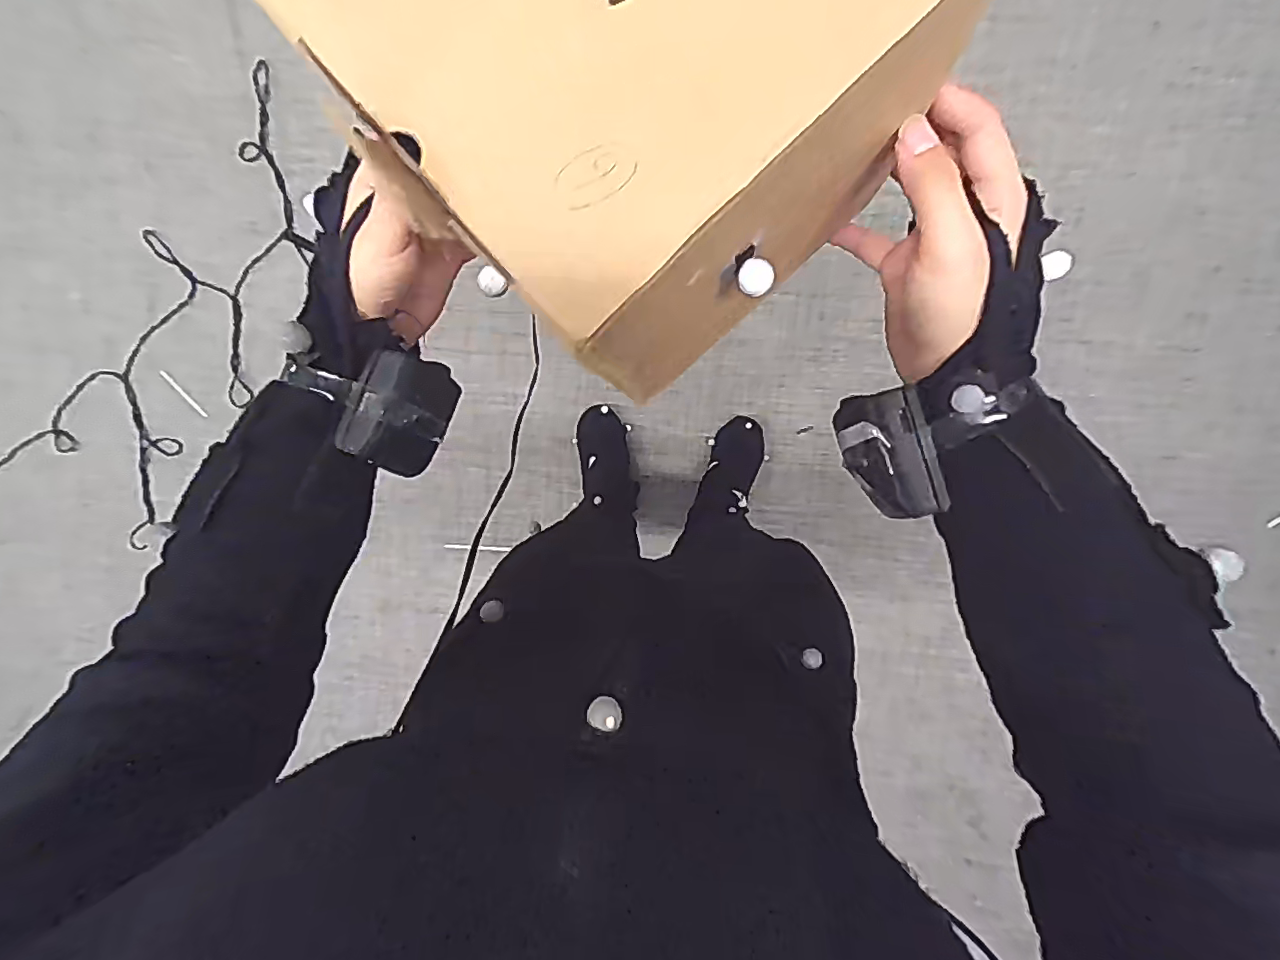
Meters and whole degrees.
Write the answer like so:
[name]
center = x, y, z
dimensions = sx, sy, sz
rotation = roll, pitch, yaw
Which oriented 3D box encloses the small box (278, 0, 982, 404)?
[small box]
center = 0.002, -0.152, 0.247
dimensions = 0.179, 0.176, 0.168
rotation = -42, 86, 8
